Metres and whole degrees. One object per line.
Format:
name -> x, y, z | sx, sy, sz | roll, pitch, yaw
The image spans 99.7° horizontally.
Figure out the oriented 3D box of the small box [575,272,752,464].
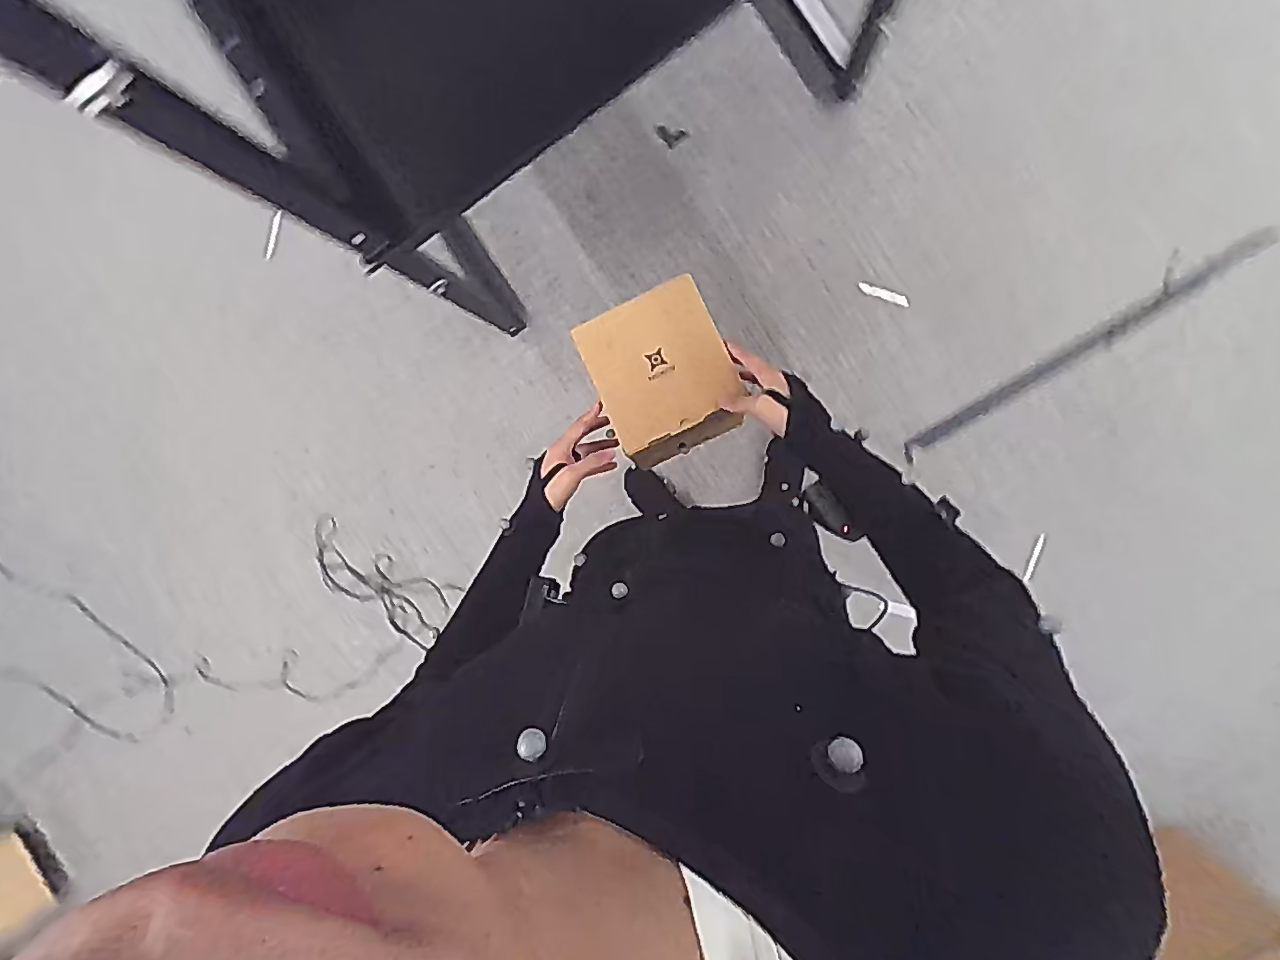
small box -> 0.035, -0.136, 0.728 | 0.168, 0.176, 0.179 | -25, 83, 5
